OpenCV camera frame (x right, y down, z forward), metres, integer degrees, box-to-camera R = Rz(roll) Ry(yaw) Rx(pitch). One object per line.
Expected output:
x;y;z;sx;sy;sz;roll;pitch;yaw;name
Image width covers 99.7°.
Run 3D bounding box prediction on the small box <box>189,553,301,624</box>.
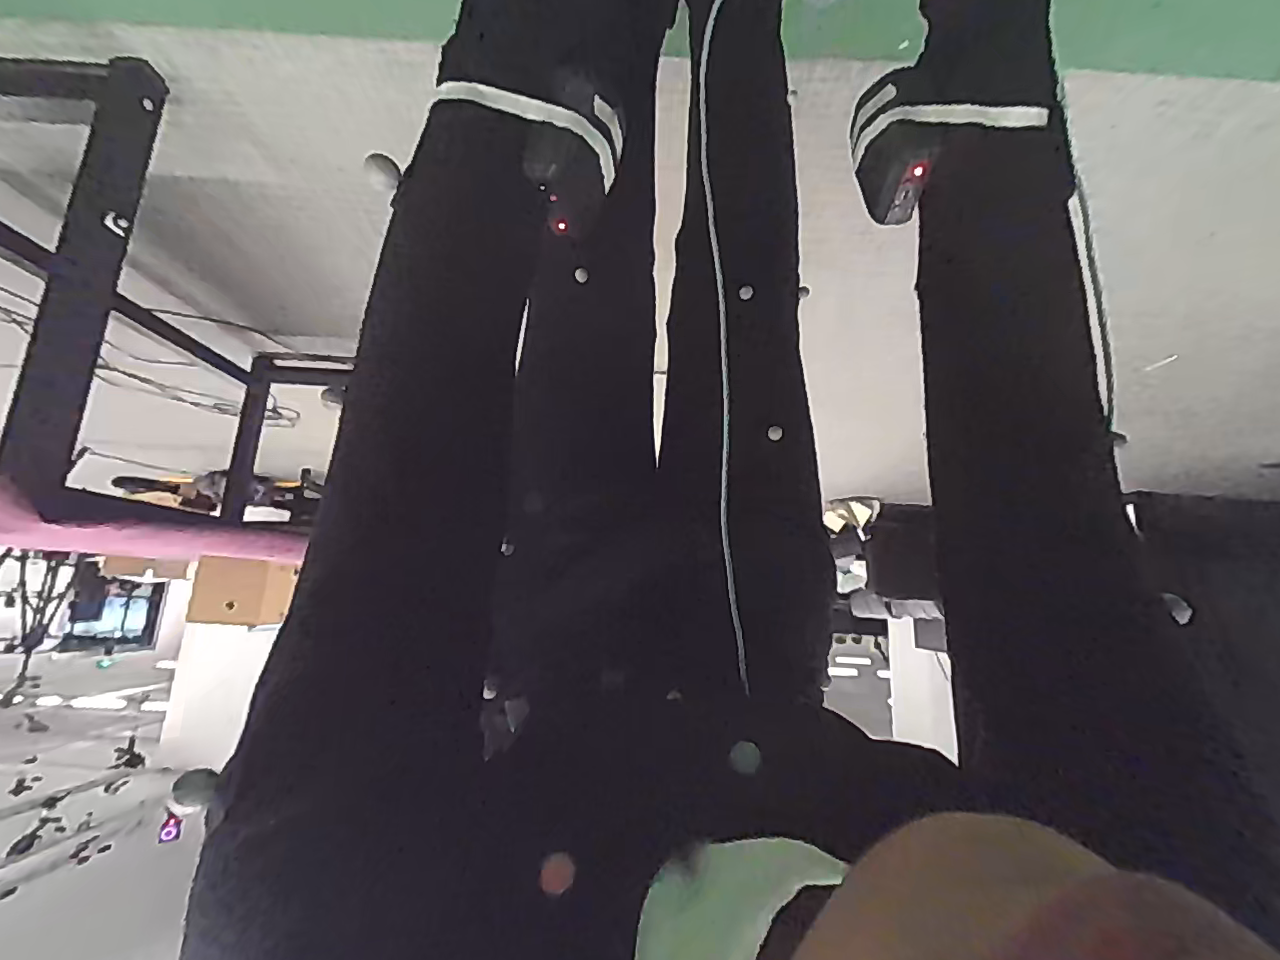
-1.024;0.284;1.422;0.179;0.176;0.168;4;167;-2;small box
